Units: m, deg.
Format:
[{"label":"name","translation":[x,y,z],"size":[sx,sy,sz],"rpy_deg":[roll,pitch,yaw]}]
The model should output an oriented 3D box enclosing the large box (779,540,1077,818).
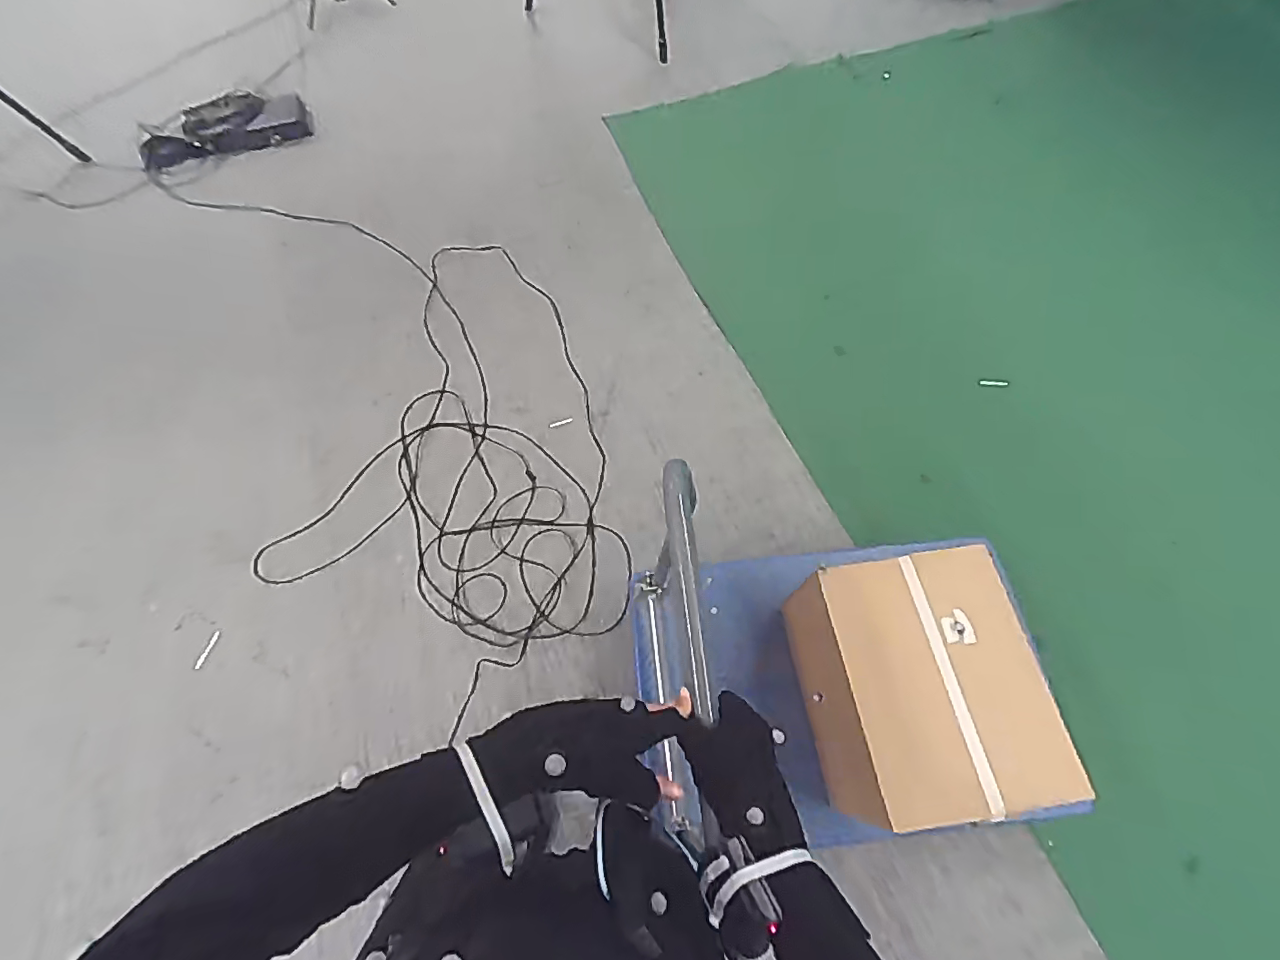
[{"label":"large box","translation":[0.488,0.373,1.028],"size":[0.320,0.320,0.408],"rpy_deg":[-8,64,-3]}]
